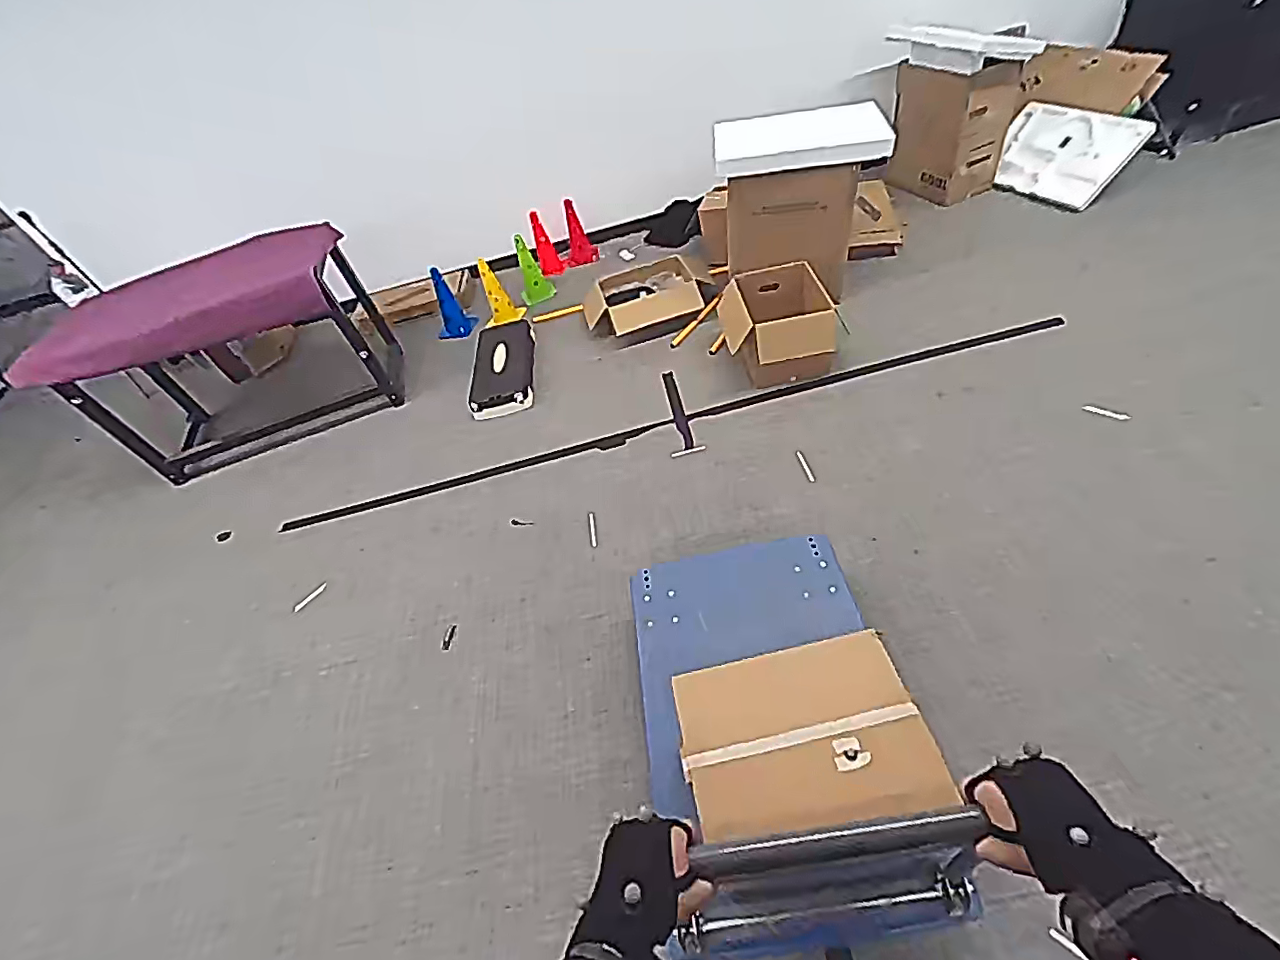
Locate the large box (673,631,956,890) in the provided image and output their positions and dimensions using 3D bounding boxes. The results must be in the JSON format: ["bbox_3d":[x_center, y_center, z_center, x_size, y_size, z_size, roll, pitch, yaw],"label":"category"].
[{"bbox_3d":[0.305,0.549,1.052,0.408,0.320,0.320,-14,47,1],"label":"large box"}]
